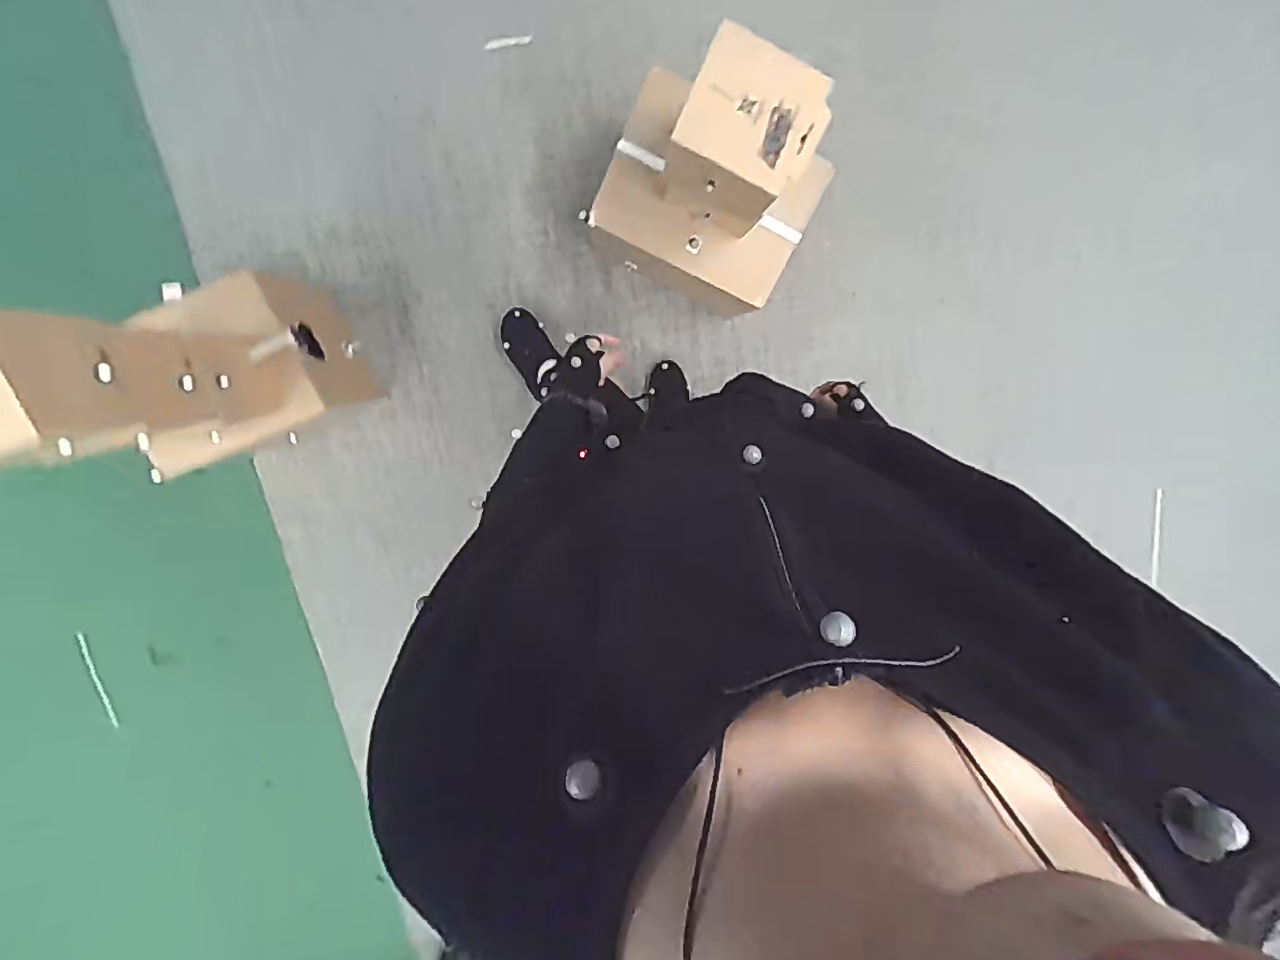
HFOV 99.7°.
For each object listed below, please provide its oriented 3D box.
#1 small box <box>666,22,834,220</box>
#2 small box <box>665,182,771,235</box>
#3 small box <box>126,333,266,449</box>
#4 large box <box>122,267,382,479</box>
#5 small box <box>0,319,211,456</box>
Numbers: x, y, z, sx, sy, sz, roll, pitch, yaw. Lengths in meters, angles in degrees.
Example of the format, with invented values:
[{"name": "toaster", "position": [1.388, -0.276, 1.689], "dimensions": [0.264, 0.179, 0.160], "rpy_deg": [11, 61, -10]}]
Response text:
[{"name": "small box", "position": [0.153, -0.521, 0.822], "dimensions": [0.179, 0.176, 0.168], "rpy_deg": [26, 99, -6]}, {"name": "small box", "position": [0.160, -0.566, 0.981], "dimensions": [0.179, 0.176, 0.168], "rpy_deg": [21, 99, -8]}, {"name": "small box", "position": [-0.862, -0.175, 1.023], "dimensions": [0.168, 0.176, 0.179], "rpy_deg": [-17, 103, 1]}, {"name": "large box", "position": [-0.908, -0.246, 1.257], "dimensions": [0.408, 0.320, 0.320], "rpy_deg": [-22, 101, 4]}, {"name": "small box", "position": [-0.853, -0.147, 0.864], "dimensions": [0.179, 0.176, 0.168], "rpy_deg": [-16, 103, 0]}]
